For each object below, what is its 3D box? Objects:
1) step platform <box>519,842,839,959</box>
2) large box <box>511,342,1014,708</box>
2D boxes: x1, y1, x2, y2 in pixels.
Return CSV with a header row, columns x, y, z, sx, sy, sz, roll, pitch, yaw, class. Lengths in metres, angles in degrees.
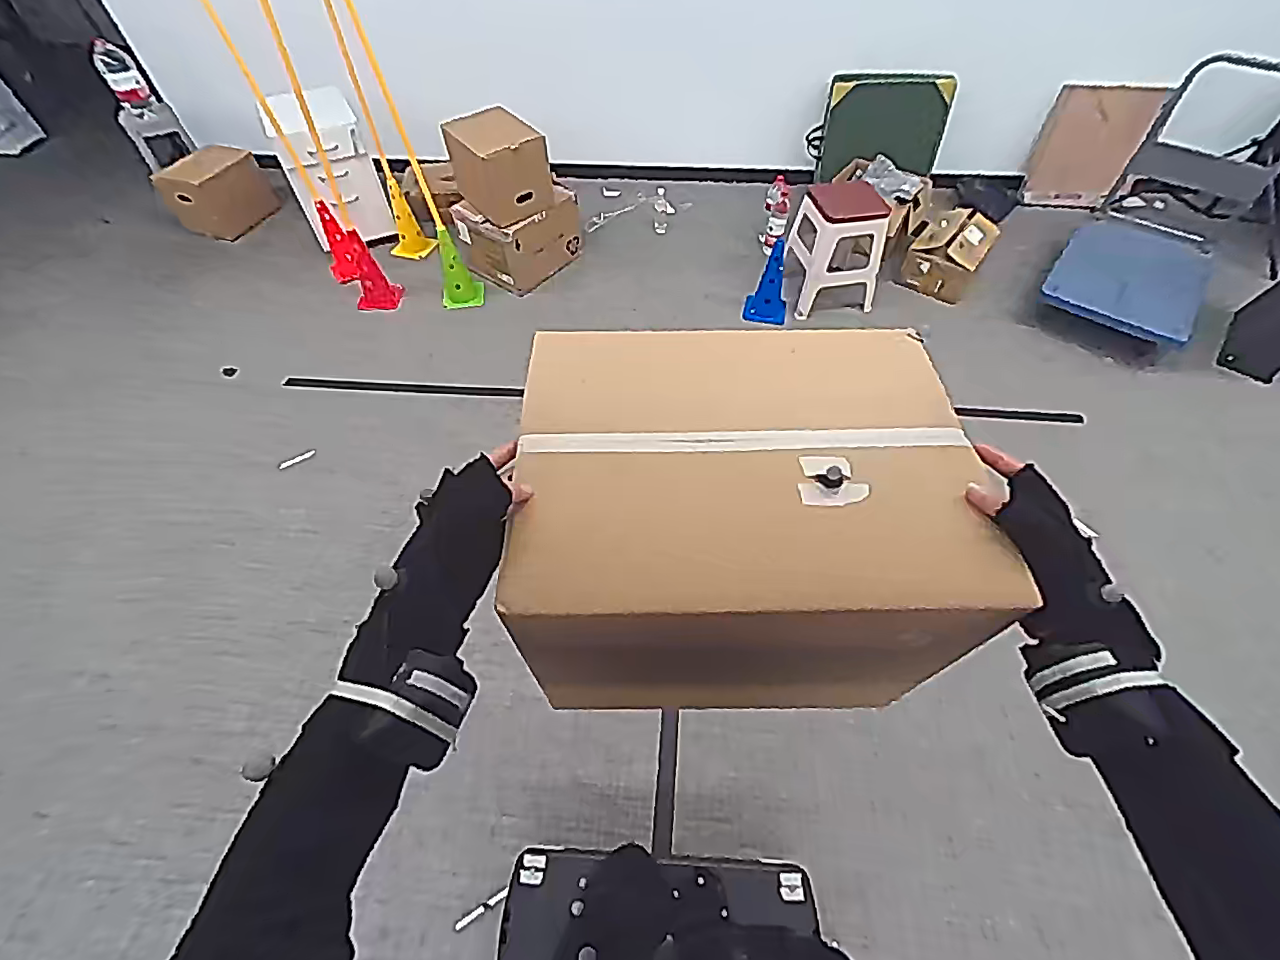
x,y,z,sx,sy,sz,roll,pitch,yaw,class
0.080,0.992,1.200,0.684,0.204,0.286,2,54,1,step platform
0.091,0.062,0.624,0.408,0.320,0.320,0,55,-1,large box
